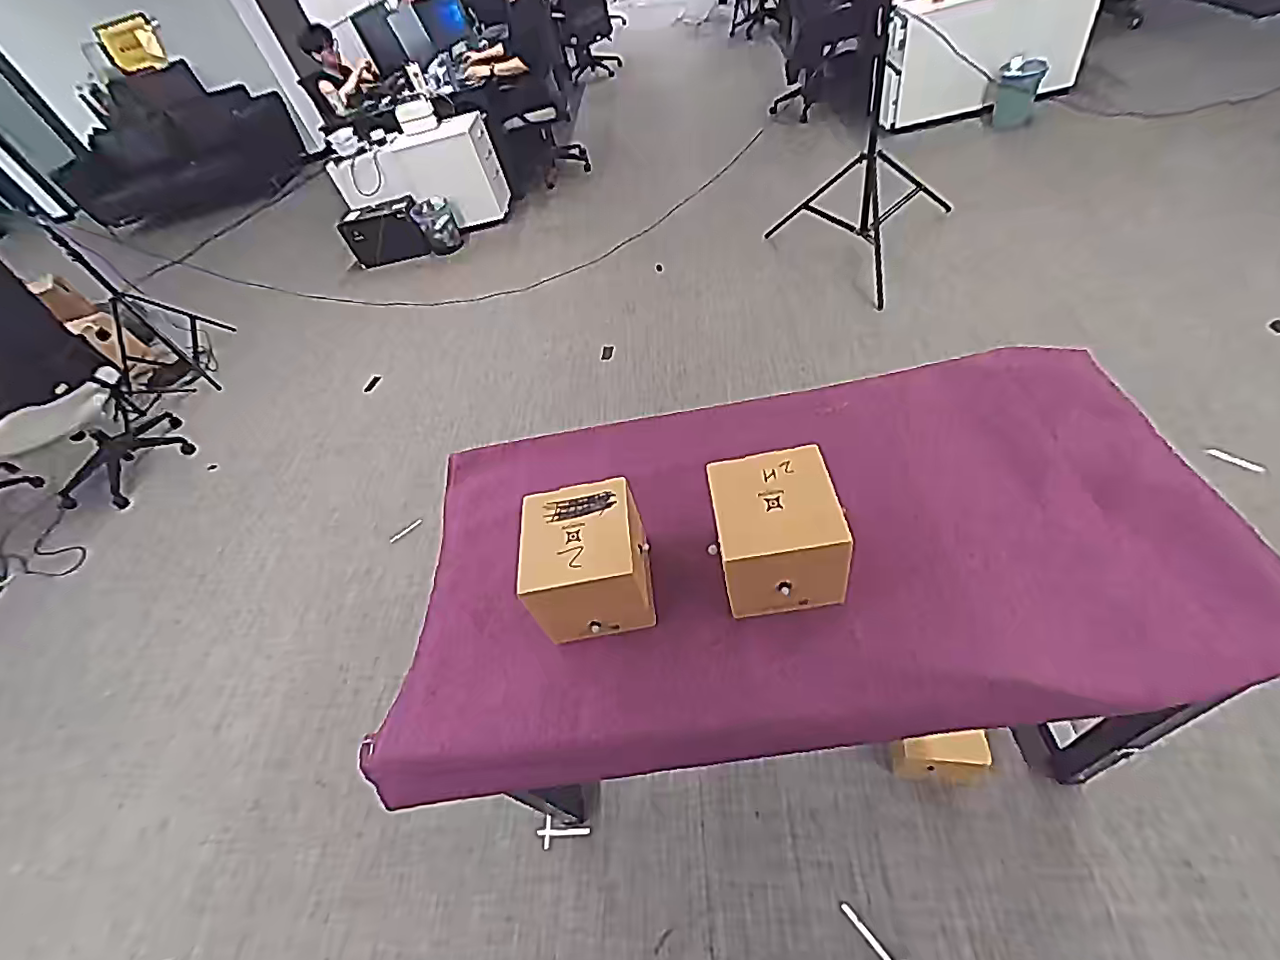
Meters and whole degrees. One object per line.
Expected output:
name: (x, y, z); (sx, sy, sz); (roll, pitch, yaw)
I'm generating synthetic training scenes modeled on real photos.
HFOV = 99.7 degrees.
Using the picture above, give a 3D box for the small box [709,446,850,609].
small box: (0.202, 0.079, 0.806); (0.168, 0.176, 0.179); (-9, 48, 7)

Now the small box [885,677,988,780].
small box: (0.667, 0.570, 1.237); (0.168, 0.176, 0.179); (-2, 49, 15)
